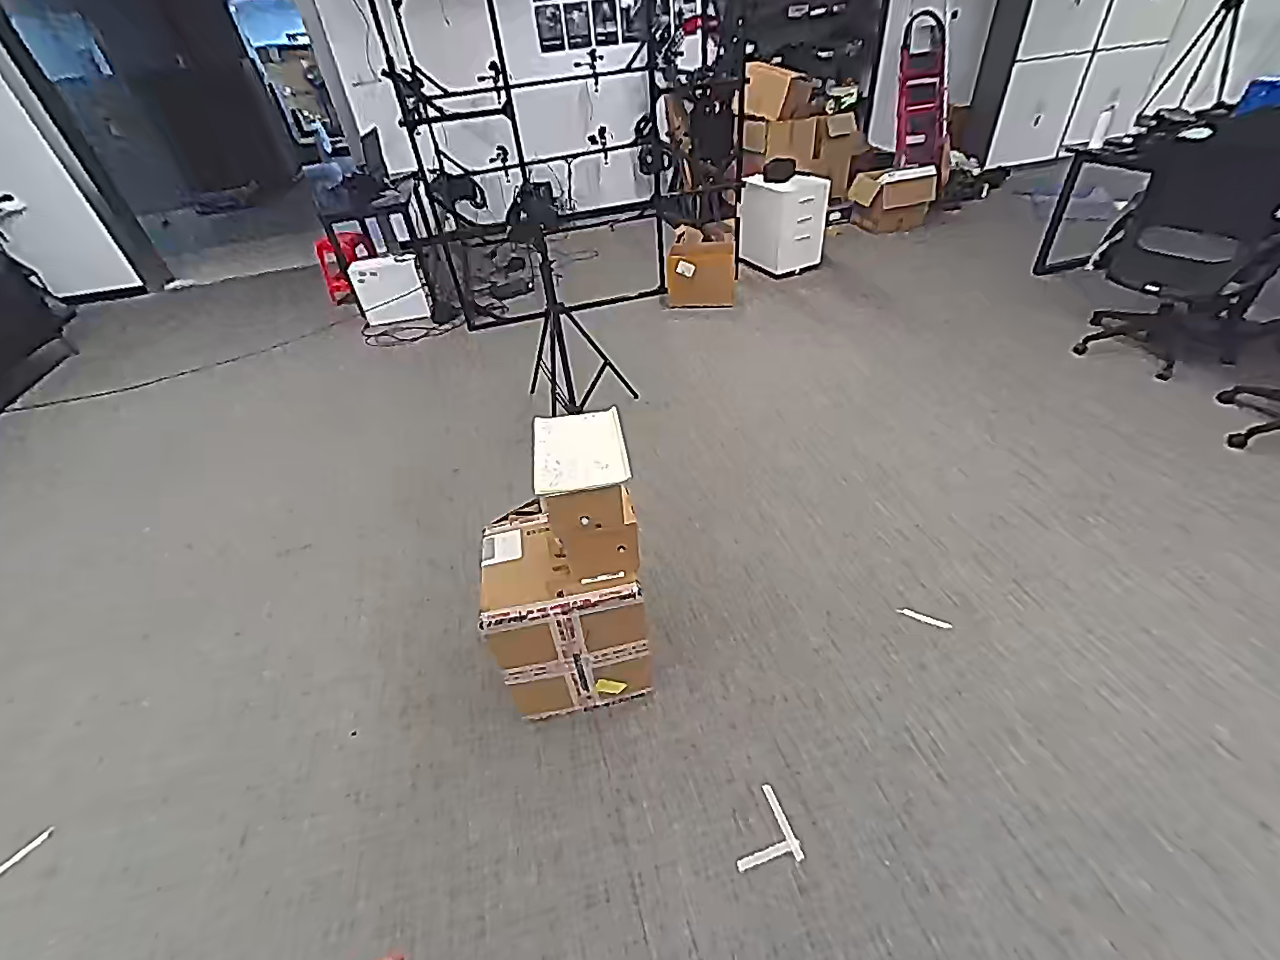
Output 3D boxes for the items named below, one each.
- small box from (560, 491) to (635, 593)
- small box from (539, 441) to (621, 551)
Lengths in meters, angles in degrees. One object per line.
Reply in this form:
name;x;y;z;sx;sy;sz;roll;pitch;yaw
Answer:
small box;-0.110;0.155;1.337;0.179;0.176;0.168;-11;41;-8
small box;-0.136;0.036;1.226;0.168;0.176;0.179;-7;42;-5
